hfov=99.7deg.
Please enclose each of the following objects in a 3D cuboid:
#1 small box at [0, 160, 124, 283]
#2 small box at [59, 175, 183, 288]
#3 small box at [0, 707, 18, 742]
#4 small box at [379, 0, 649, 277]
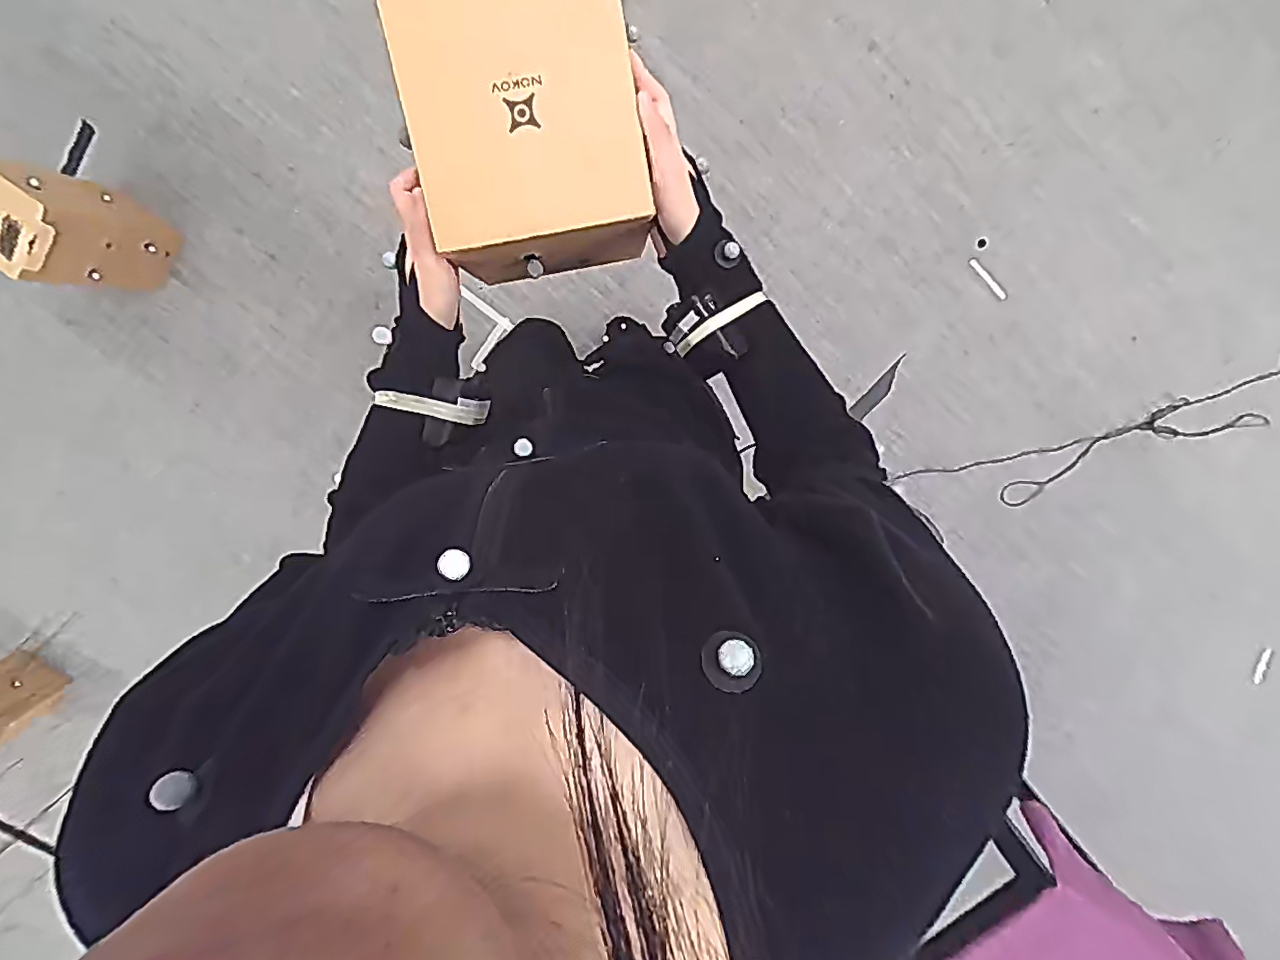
[{"bbox_3d":[-1.215,-0.519,1.088,0.179,0.176,0.168,36,103,-10],"label":"small box"},{"bbox_3d":[-1.221,-0.563,1.246,0.179,0.176,0.168,35,103,-10],"label":"small box"},{"bbox_3d":[-1.868,0.691,1.447,0.179,0.176,0.168,43,103,-13],"label":"small box"},{"bbox_3d":[-0.087,-0.281,0.460,0.168,0.176,0.179,-10,101,-1],"label":"small box"}]
